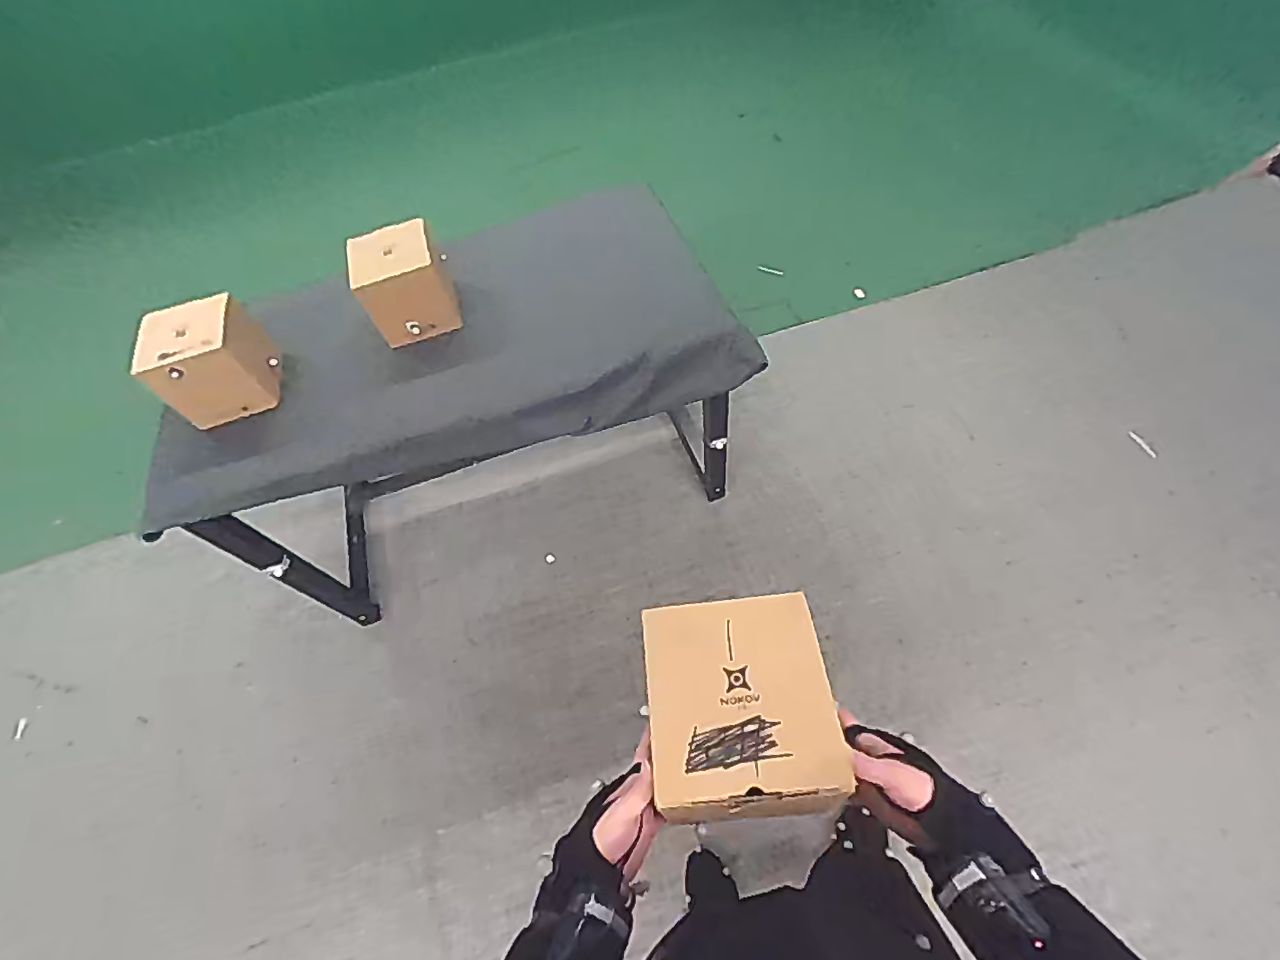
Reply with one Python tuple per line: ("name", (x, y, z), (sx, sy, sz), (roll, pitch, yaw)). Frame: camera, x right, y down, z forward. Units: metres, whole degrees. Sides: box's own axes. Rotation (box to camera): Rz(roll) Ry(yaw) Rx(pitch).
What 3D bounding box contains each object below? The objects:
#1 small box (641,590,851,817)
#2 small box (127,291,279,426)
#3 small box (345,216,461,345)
("small box", (0.097, 0.235, 0.554), (0.168, 0.176, 0.179), (-7, 52, 3))
("small box", (-0.862, -0.241, 1.089), (0.168, 0.176, 0.179), (-20, 58, -5))
("small box", (-0.504, -0.424, 1.161), (0.168, 0.176, 0.179), (-21, 60, -4))
